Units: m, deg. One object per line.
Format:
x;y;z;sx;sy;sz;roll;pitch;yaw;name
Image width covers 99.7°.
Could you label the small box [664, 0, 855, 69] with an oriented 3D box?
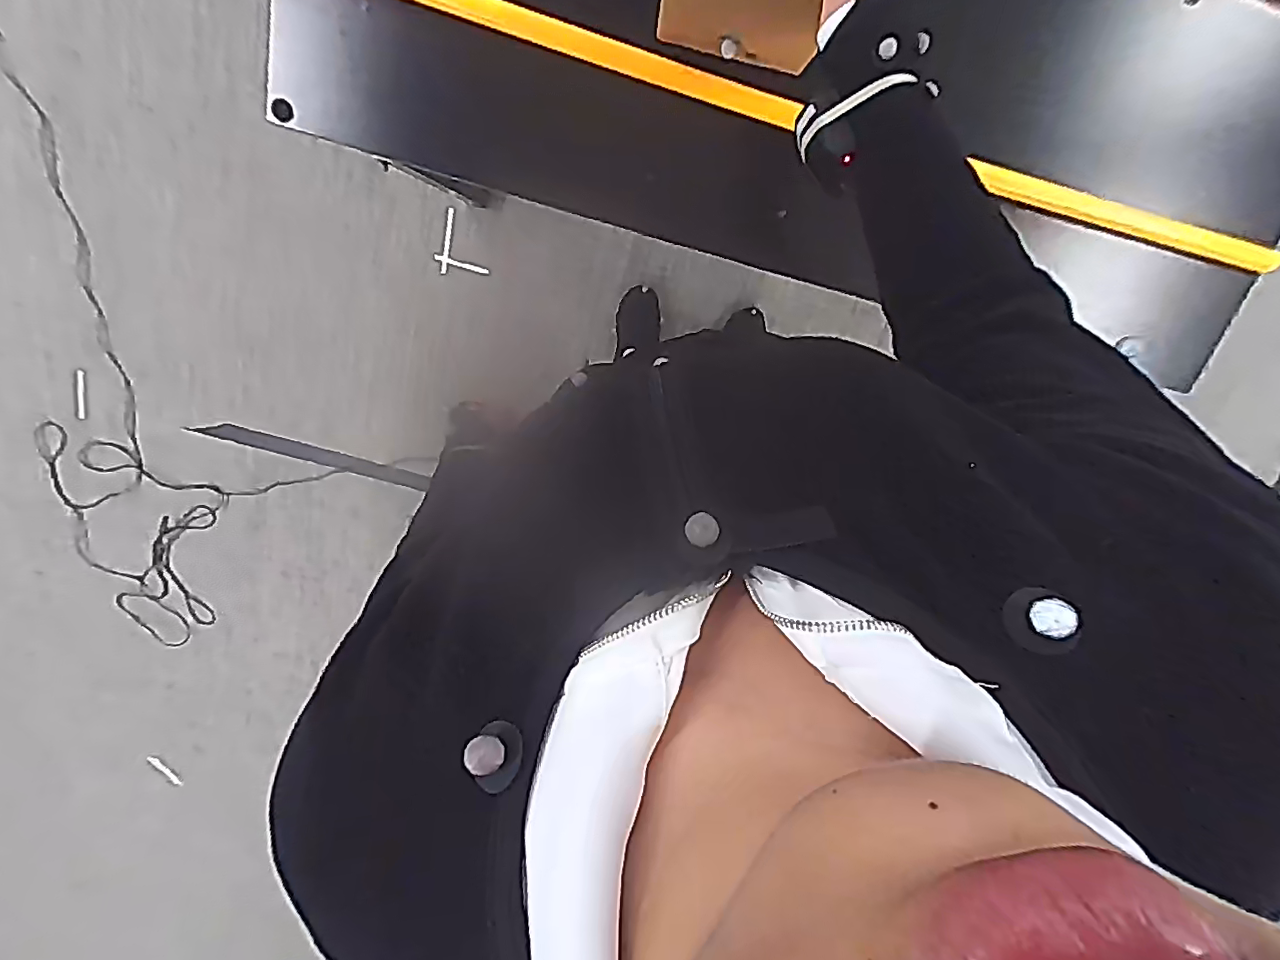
0.120;-0.526;0.496;0.168;0.176;0.179;11;110;-5;small box
